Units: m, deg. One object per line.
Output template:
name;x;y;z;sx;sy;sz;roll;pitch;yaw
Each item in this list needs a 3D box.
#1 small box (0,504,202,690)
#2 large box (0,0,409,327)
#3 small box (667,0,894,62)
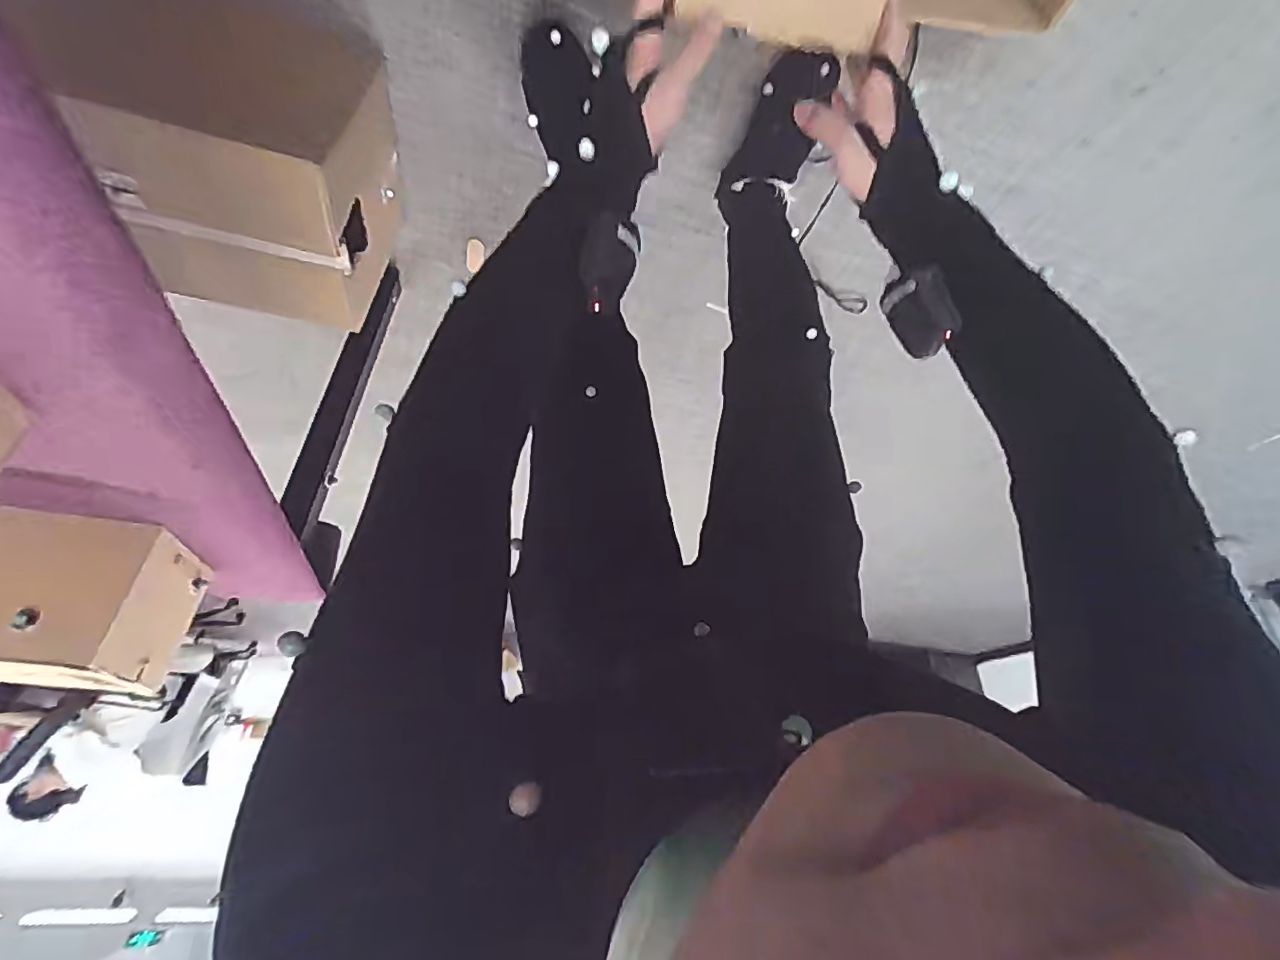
small box;-0.671;0.143;0.645;0.179;0.176;0.168;11;147;-12
large box;-0.628;-0.501;0.857;0.408;0.320;0.320;11;147;-12
small box;0.118;-0.464;0.435;0.168;0.176;0.179;5;131;-7
